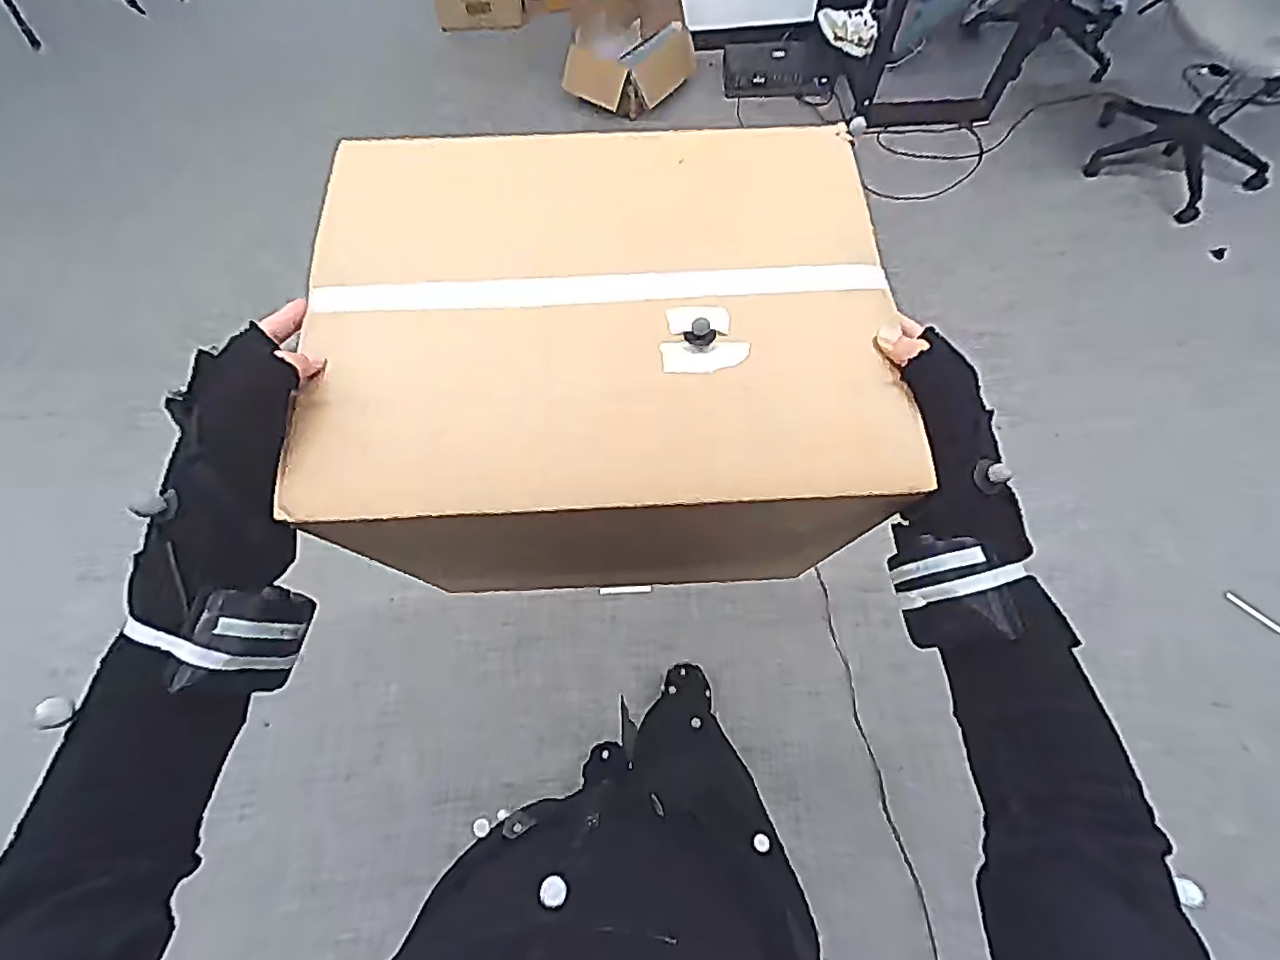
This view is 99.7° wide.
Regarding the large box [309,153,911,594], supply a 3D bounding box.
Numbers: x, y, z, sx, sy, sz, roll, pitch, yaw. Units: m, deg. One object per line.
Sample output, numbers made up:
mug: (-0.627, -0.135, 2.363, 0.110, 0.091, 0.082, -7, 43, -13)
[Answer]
large box: (-0.027, -0.075, 0.543, 0.408, 0.320, 0.320, -3, 70, -1)
